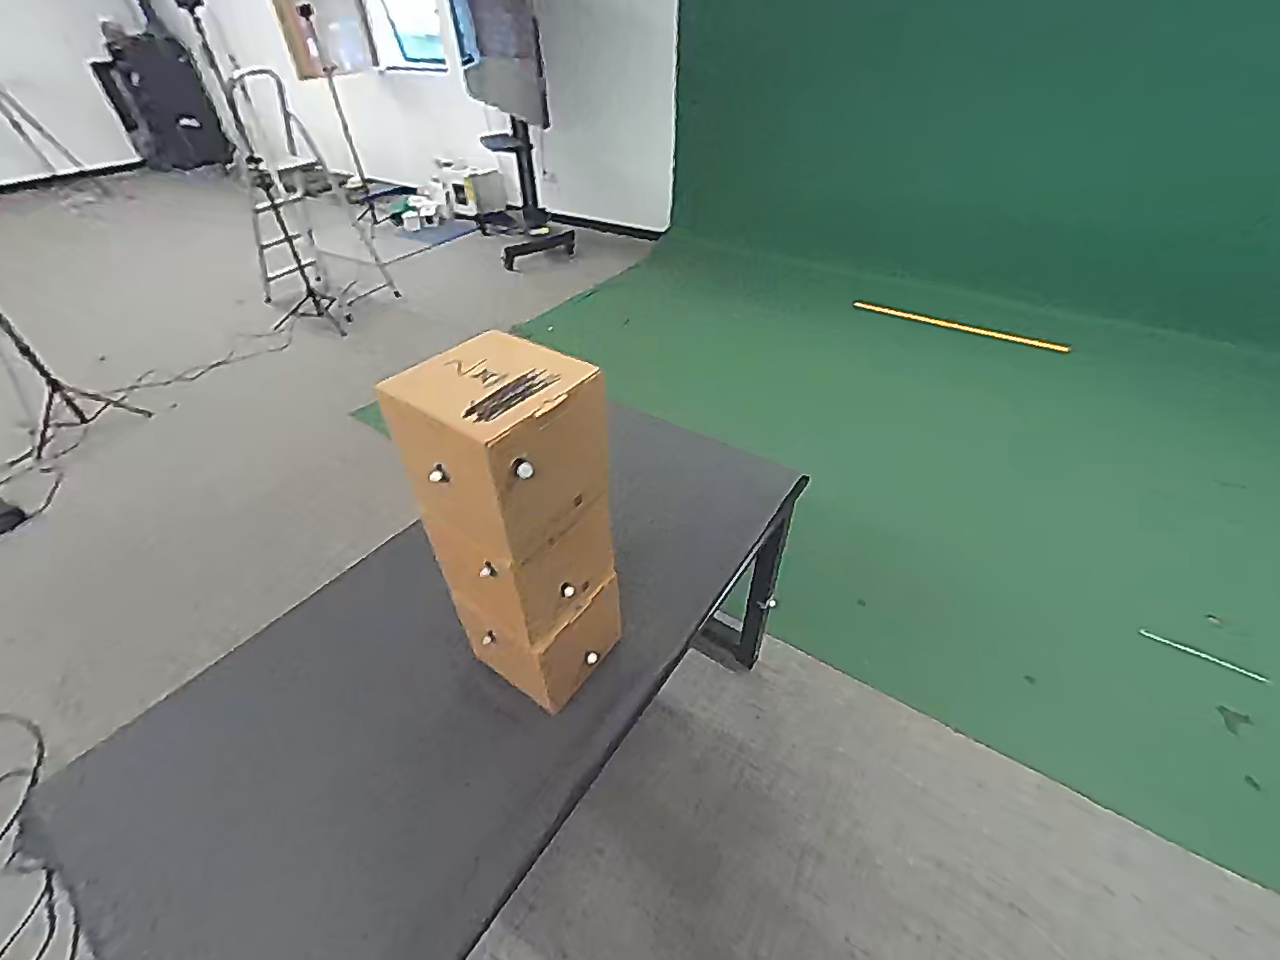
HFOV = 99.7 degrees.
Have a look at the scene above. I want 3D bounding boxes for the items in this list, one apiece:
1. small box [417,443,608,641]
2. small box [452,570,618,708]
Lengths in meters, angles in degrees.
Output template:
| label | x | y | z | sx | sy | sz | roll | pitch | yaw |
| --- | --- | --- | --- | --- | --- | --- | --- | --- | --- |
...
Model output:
| label | x | y | z | sx | sy | sz | roll | pitch | yaw |
| --- | --- | --- | --- | --- | --- | --- | --- | --- | --- |
| small box | -0.160 | 0.081 | 0.725 | 0.179 | 0.176 | 0.168 | 25 | 46 | 28 |
| small box | -0.150 | 0.210 | 0.824 | 0.179 | 0.176 | 0.168 | 24 | 47 | 27 |
